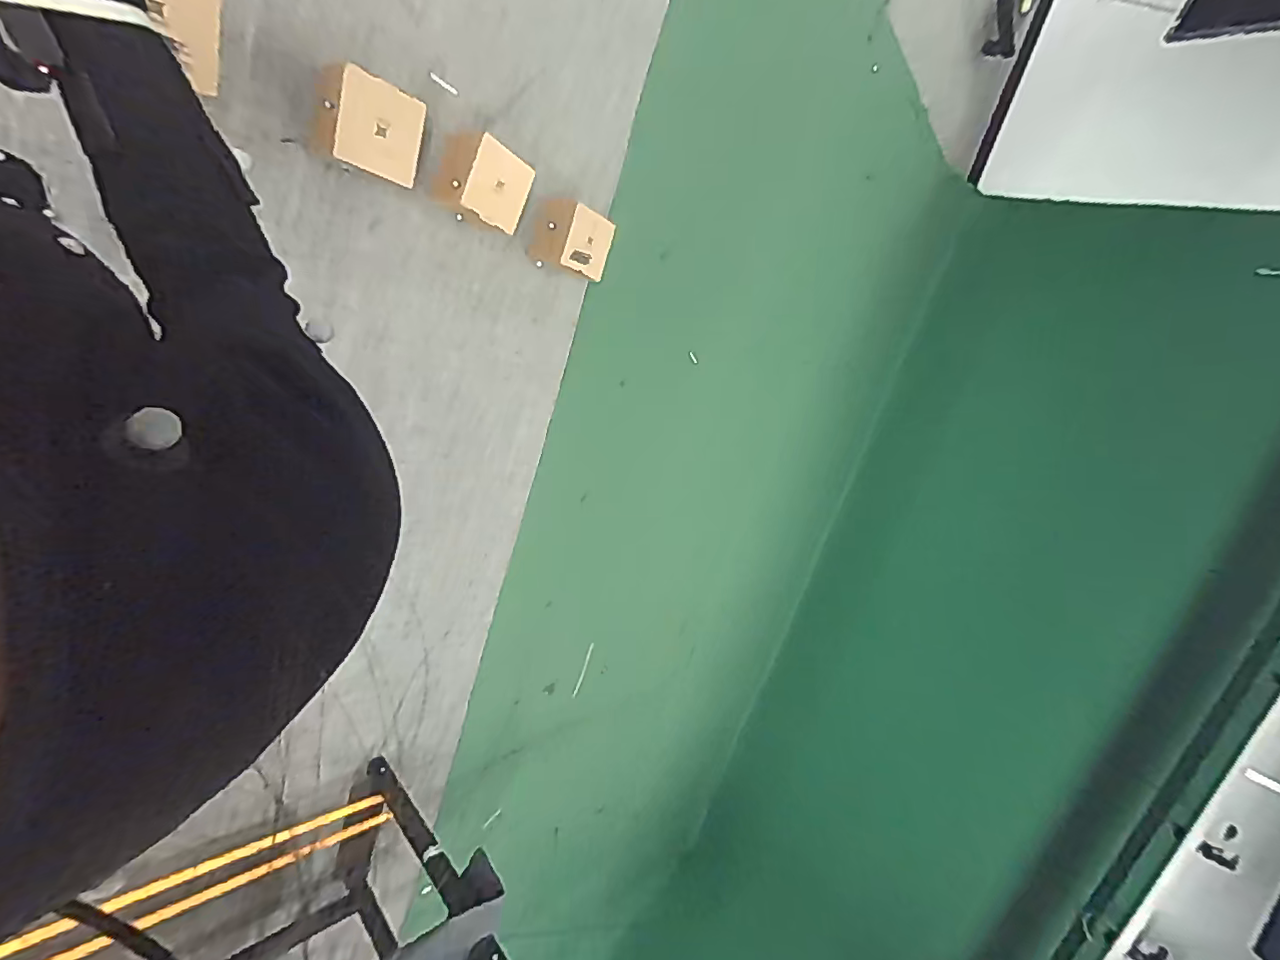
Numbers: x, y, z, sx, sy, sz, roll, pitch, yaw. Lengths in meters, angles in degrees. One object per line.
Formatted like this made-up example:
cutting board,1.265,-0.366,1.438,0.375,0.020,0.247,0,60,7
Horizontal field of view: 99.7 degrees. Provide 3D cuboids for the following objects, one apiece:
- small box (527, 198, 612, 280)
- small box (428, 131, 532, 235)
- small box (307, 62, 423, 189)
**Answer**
small box,-0.219,-0.730,1.638,0.168,0.176,0.179,5,107,-51
small box,-0.414,-0.760,1.387,0.168,0.176,0.179,13,102,-53
small box,-0.598,-0.758,1.169,0.168,0.176,0.179,0,114,-48
